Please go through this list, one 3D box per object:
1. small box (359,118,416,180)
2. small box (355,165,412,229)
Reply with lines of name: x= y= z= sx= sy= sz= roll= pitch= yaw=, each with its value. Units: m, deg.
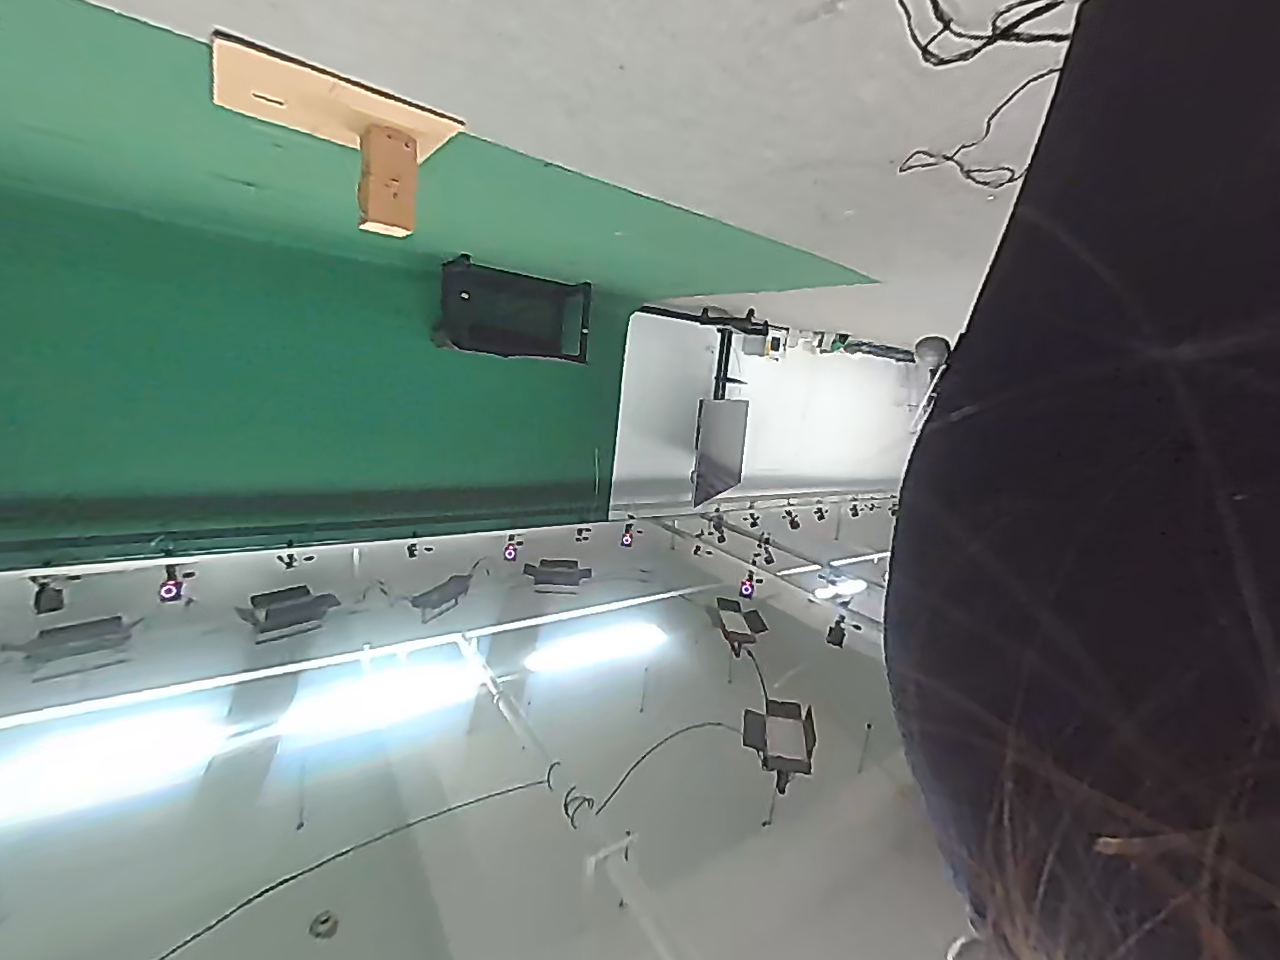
small box: x=-0.968 y=-1.255 z=2.067 sx=0.168 sy=0.176 sz=0.179 roll=-4 pitch=-164 yaw=-39
small box: x=-0.997 y=-1.099 z=2.106 sx=0.168 sy=0.176 sz=0.179 roll=-4 pitch=-165 yaw=-40
